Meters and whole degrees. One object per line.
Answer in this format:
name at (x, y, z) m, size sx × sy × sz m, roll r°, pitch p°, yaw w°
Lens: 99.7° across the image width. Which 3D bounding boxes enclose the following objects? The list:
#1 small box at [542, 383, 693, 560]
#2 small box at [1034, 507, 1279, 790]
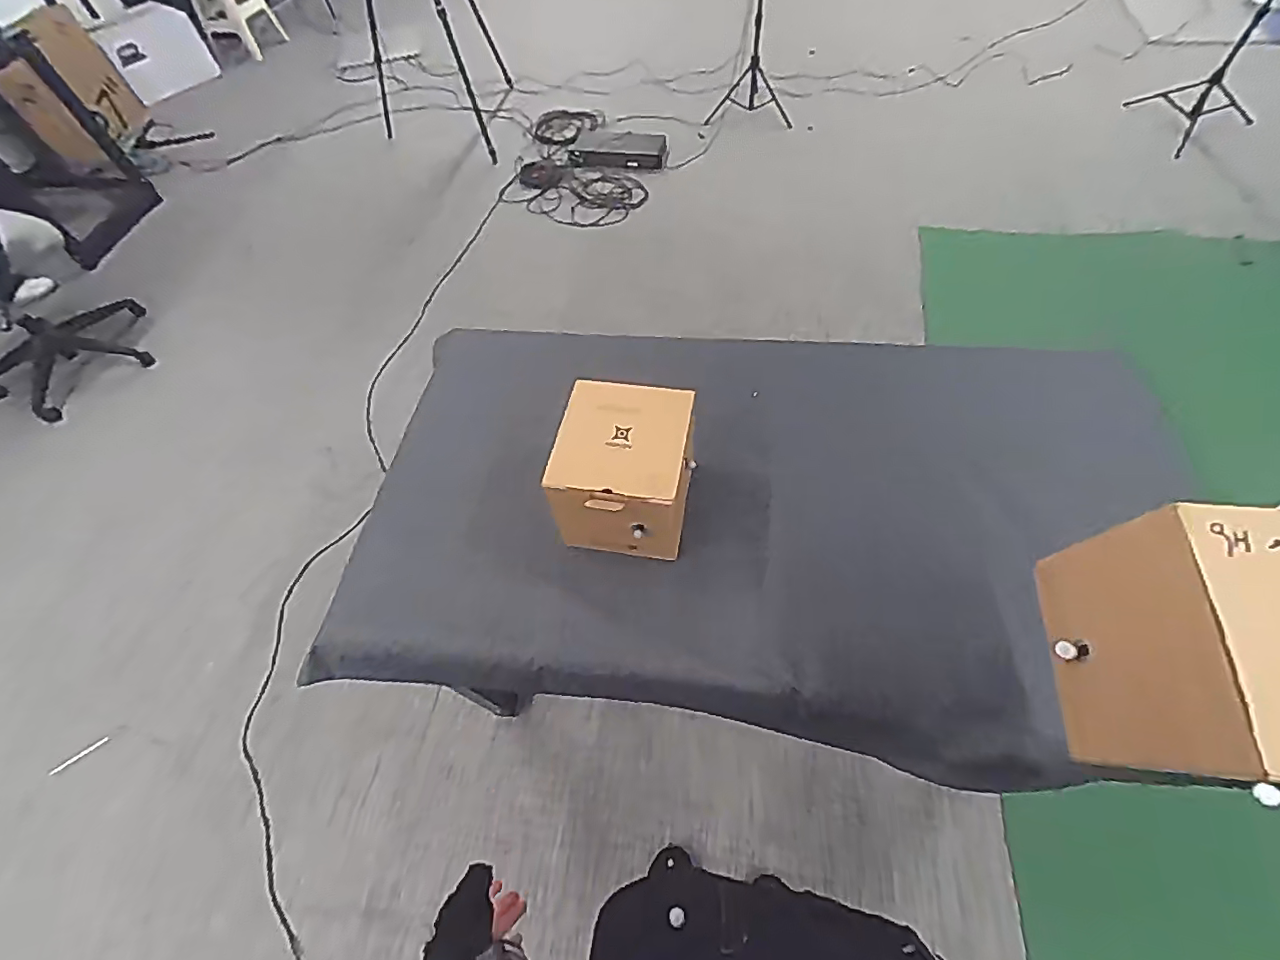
small box at (-0.020, -0.007, 0.750) m, size 0.168 × 0.176 × 0.179 m, roll 7°, pitch 57°, yaw 8°
small box at (0.451, 0.134, 0.417) m, size 0.168 × 0.176 × 0.179 m, roll 3°, pitch 67°, yaw 3°
